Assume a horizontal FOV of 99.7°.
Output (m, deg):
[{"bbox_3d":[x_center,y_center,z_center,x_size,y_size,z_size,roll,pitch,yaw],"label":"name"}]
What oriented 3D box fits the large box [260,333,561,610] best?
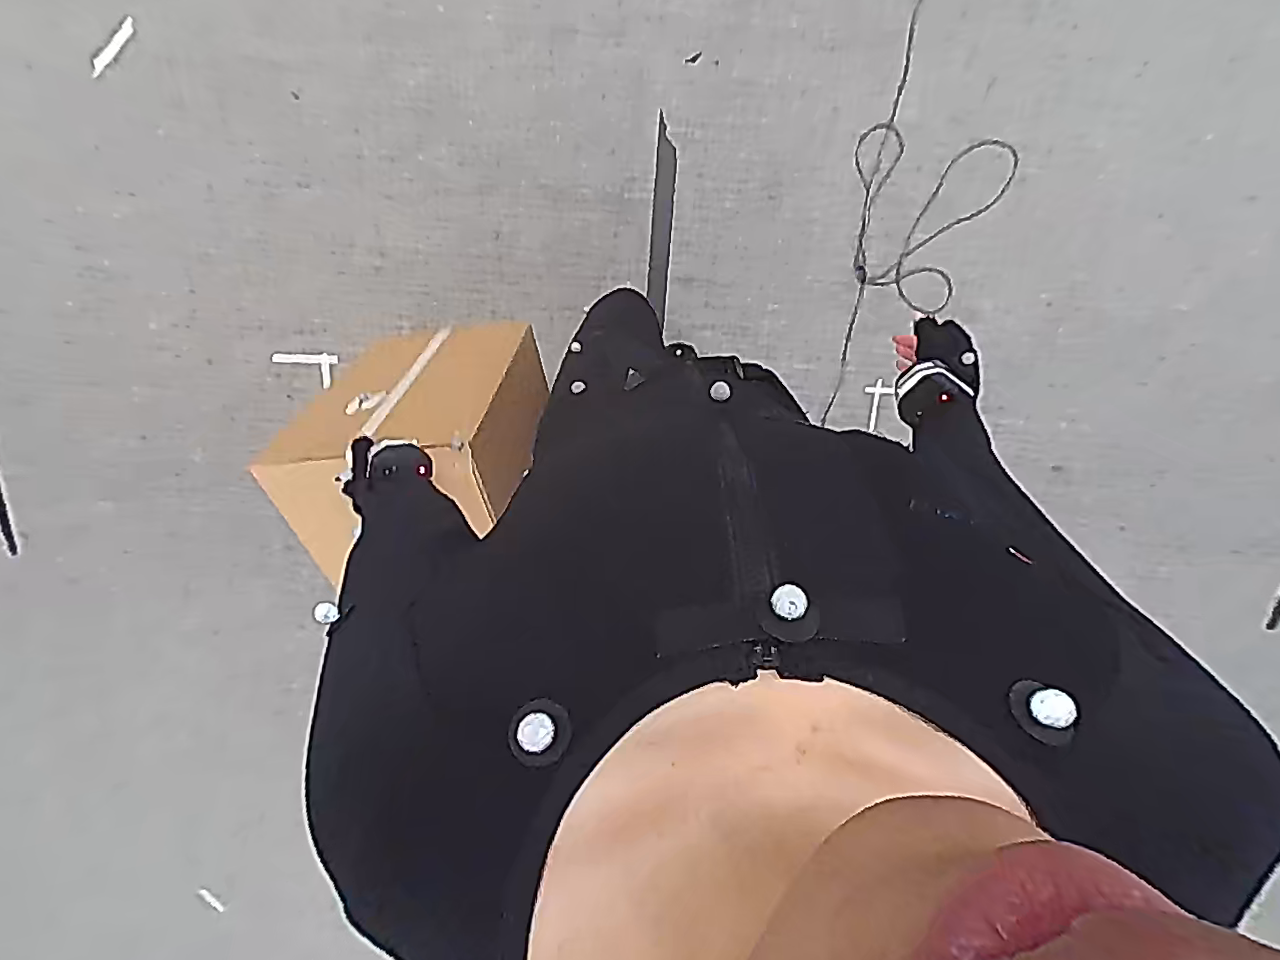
[{"bbox_3d":[-0.346,-0.027,0.968,0.320,0.408,0.320,-5,127,8],"label":"large box"}]
